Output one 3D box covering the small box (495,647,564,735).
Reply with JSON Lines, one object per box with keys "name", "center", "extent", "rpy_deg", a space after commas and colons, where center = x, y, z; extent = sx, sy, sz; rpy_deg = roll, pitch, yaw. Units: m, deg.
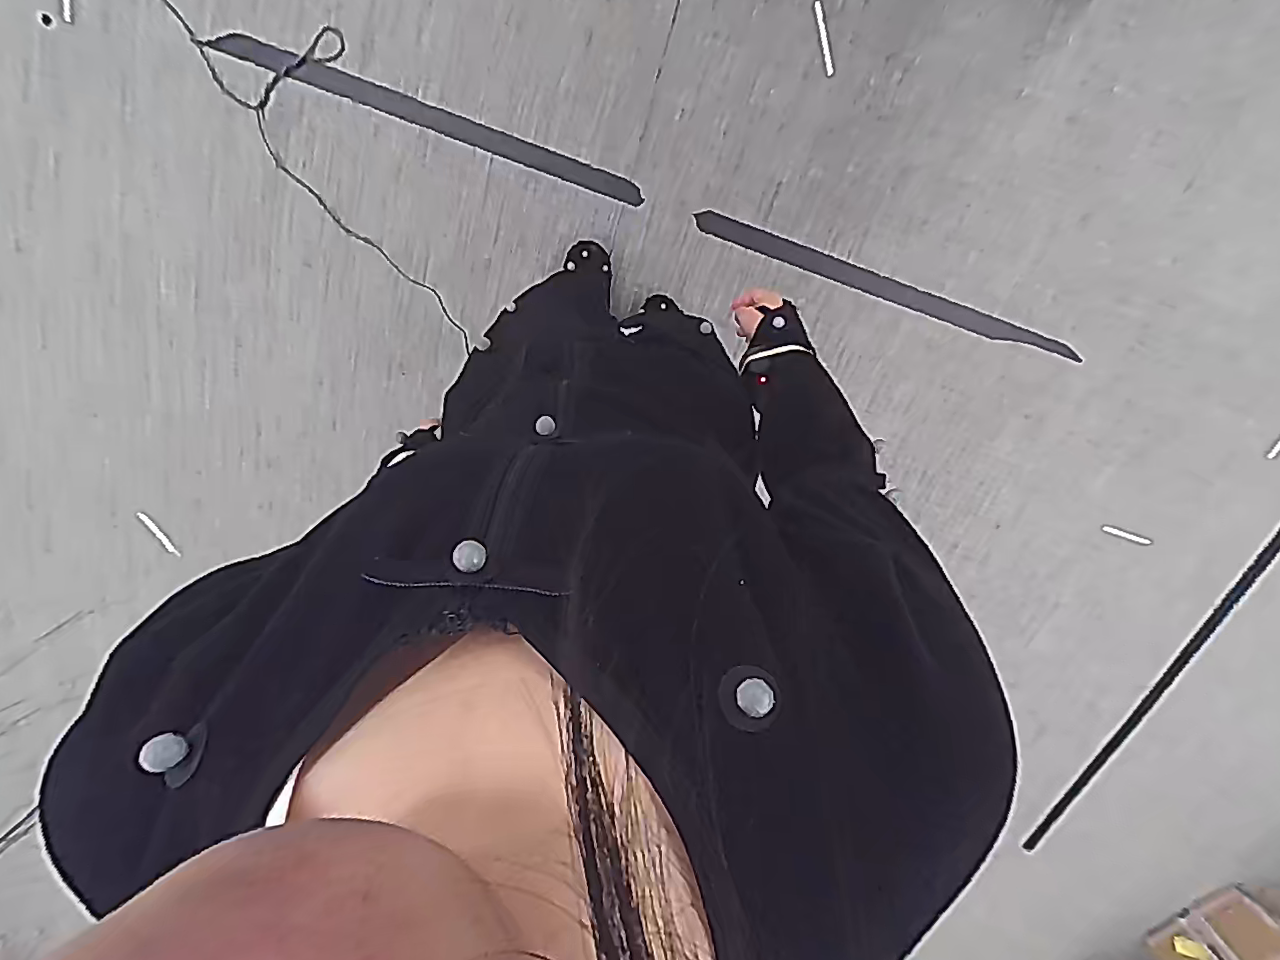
{"name": "small box", "center": [-0.338, 0.649, 1.679], "extent": [0.168, 0.176, 0.179], "rpy_deg": [14, 110, -4]}
